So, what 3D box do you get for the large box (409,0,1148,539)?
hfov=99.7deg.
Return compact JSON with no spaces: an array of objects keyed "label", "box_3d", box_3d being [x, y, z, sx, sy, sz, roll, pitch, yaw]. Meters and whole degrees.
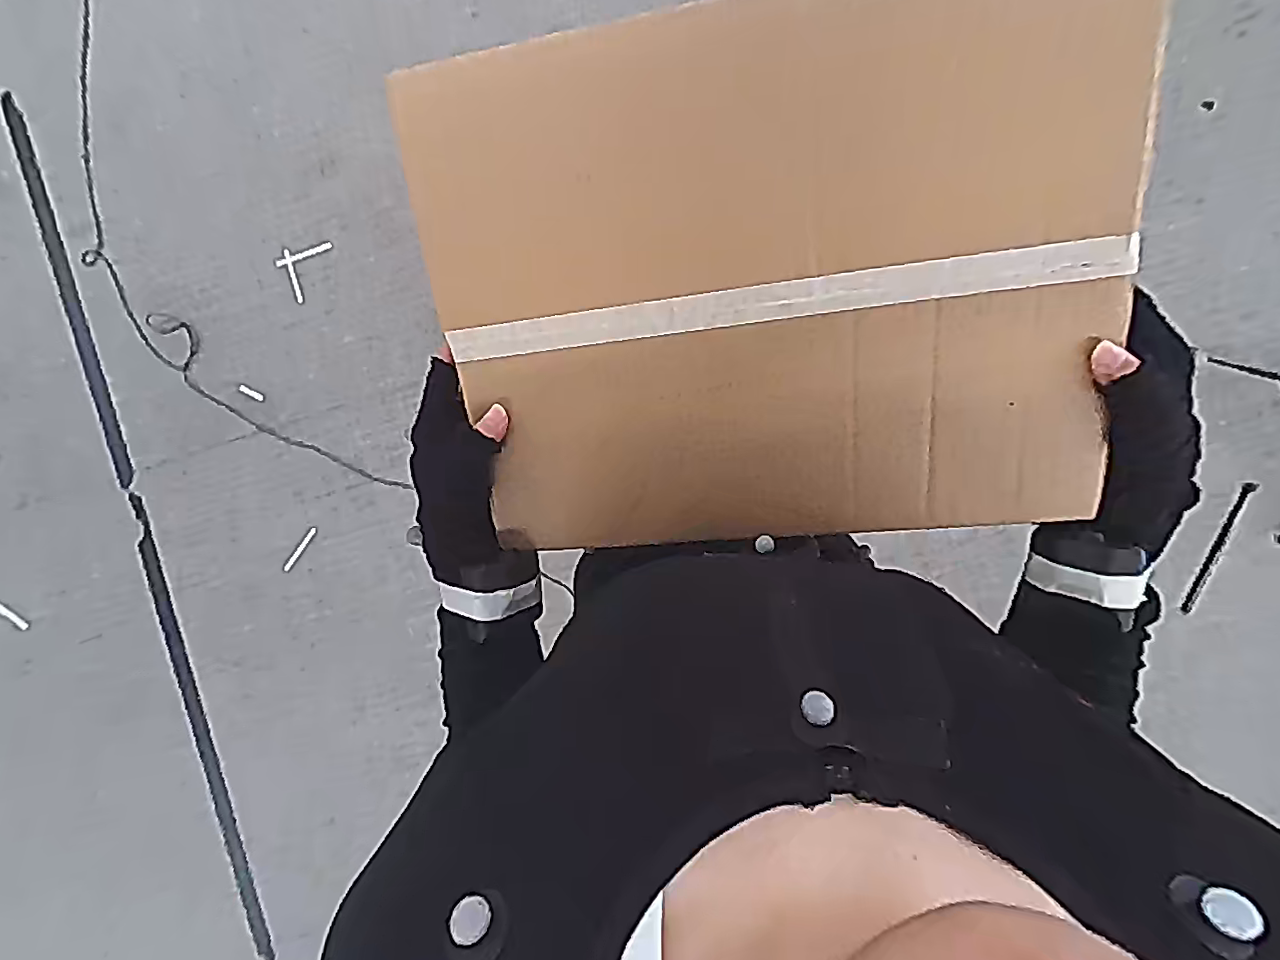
[{"label":"large box","box_3d":[0.092,-0.163,0.477,0.408,0.320,0.320,-4,110,10]}]
